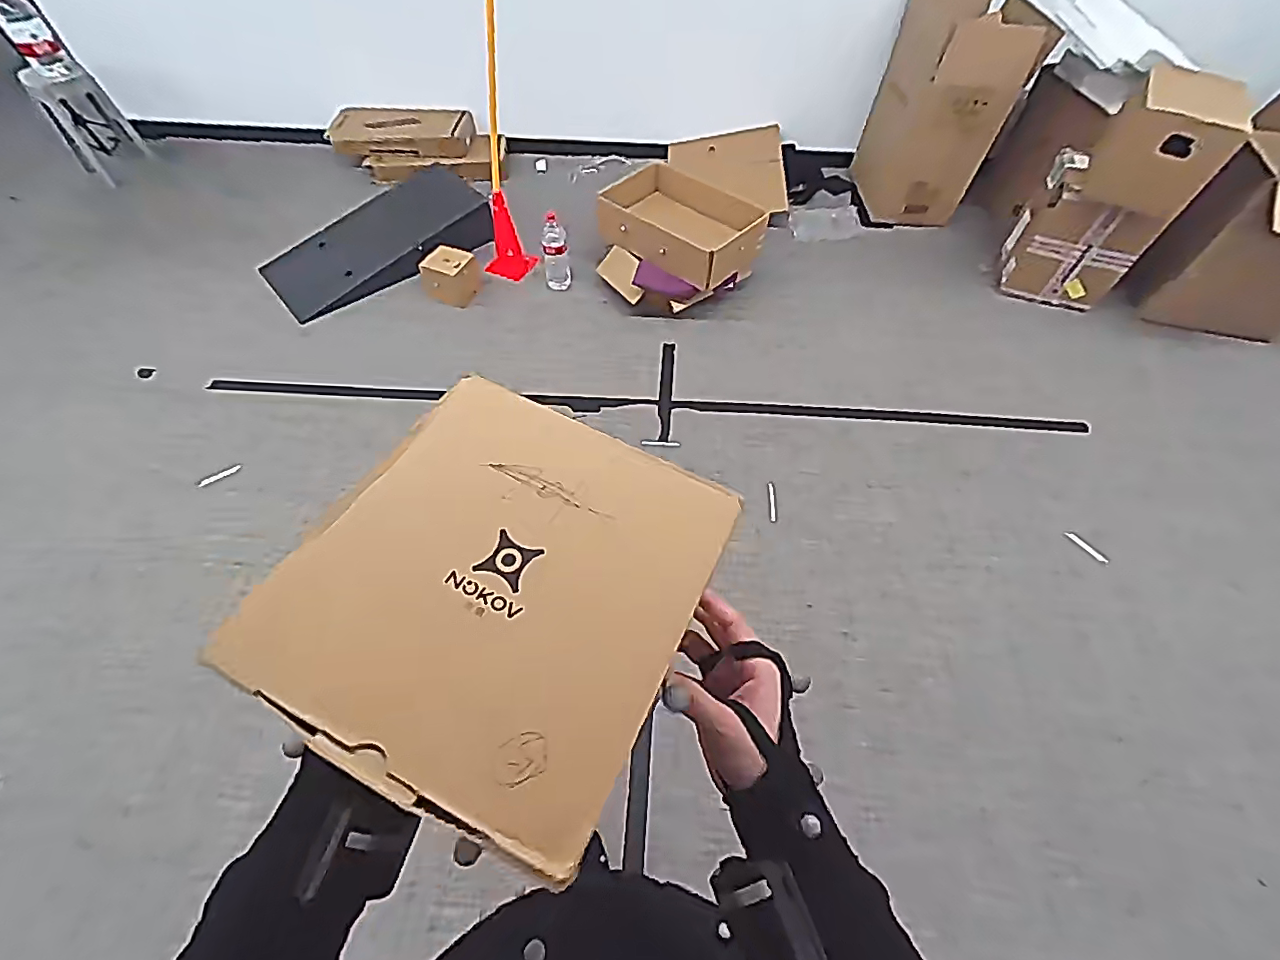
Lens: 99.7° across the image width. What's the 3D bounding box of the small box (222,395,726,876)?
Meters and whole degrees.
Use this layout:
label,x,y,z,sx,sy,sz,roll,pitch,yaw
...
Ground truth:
label,x,y,z,sx,sy,sz,roll,pitch,yaw
small box,-0.068,0.090,0.314,0.168,0.176,0.179,23,57,9
